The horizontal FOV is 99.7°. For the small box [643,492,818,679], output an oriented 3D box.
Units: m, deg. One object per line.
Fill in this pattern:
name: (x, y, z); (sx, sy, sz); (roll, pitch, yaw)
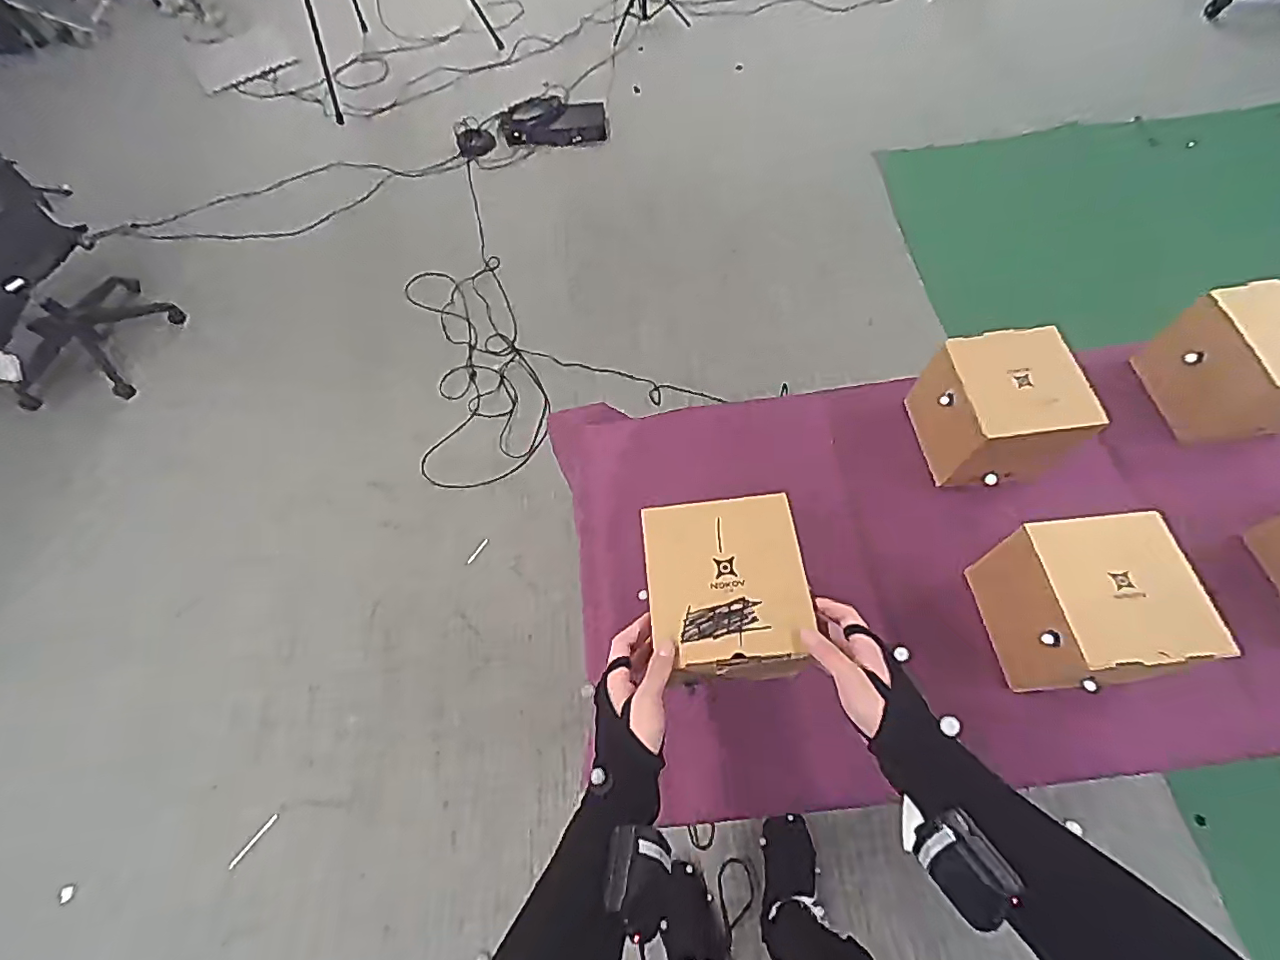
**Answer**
small box: (0.097, 0.134, 0.640); (0.168, 0.176, 0.179); (-6, 62, 3)

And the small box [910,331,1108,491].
small box: (0.546, -0.102, 0.835); (0.168, 0.176, 0.179); (-6, 64, 2)

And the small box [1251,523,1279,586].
small box: (0.966, 0.112, 0.683); (0.168, 0.176, 0.179); (-6, 61, 3)

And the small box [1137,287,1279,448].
small box: (0.938, -0.171, 0.832); (0.168, 0.176, 0.179); (-8, 64, 3)

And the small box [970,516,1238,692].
small box: (0.565, 0.164, 0.695); (0.168, 0.176, 0.179); (-5, 62, 1)
